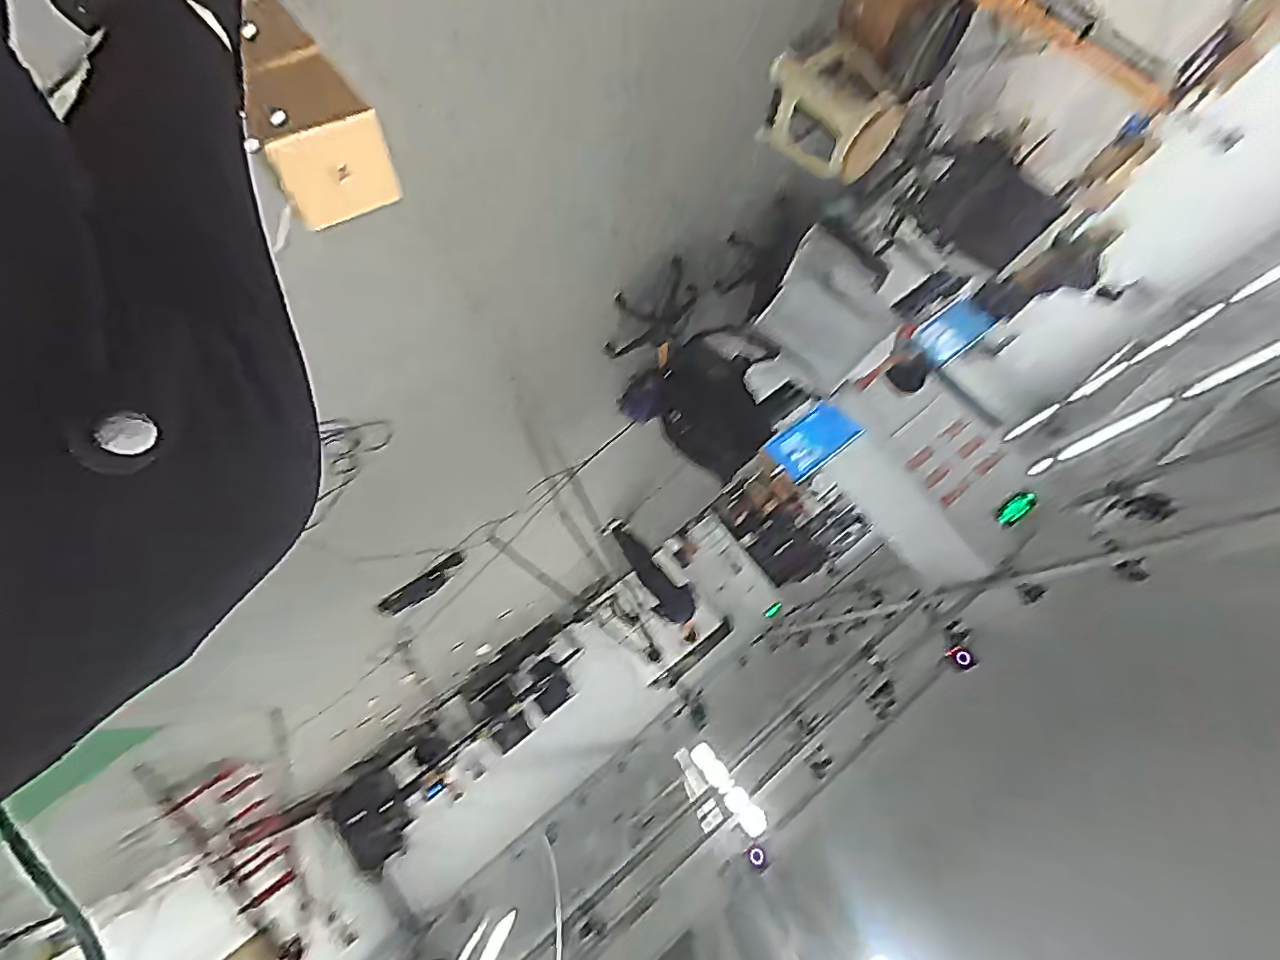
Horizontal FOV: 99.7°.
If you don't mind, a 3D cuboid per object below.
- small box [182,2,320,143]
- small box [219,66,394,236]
[{"bbox_3d":[-0.664,-0.695,0.966,0.179,0.176,0.168,-36,165,-15],"label":"small box"},{"bbox_3d":[-0.567,-0.569,0.933,0.179,0.176,0.168,-33,165,-20],"label":"small box"}]
